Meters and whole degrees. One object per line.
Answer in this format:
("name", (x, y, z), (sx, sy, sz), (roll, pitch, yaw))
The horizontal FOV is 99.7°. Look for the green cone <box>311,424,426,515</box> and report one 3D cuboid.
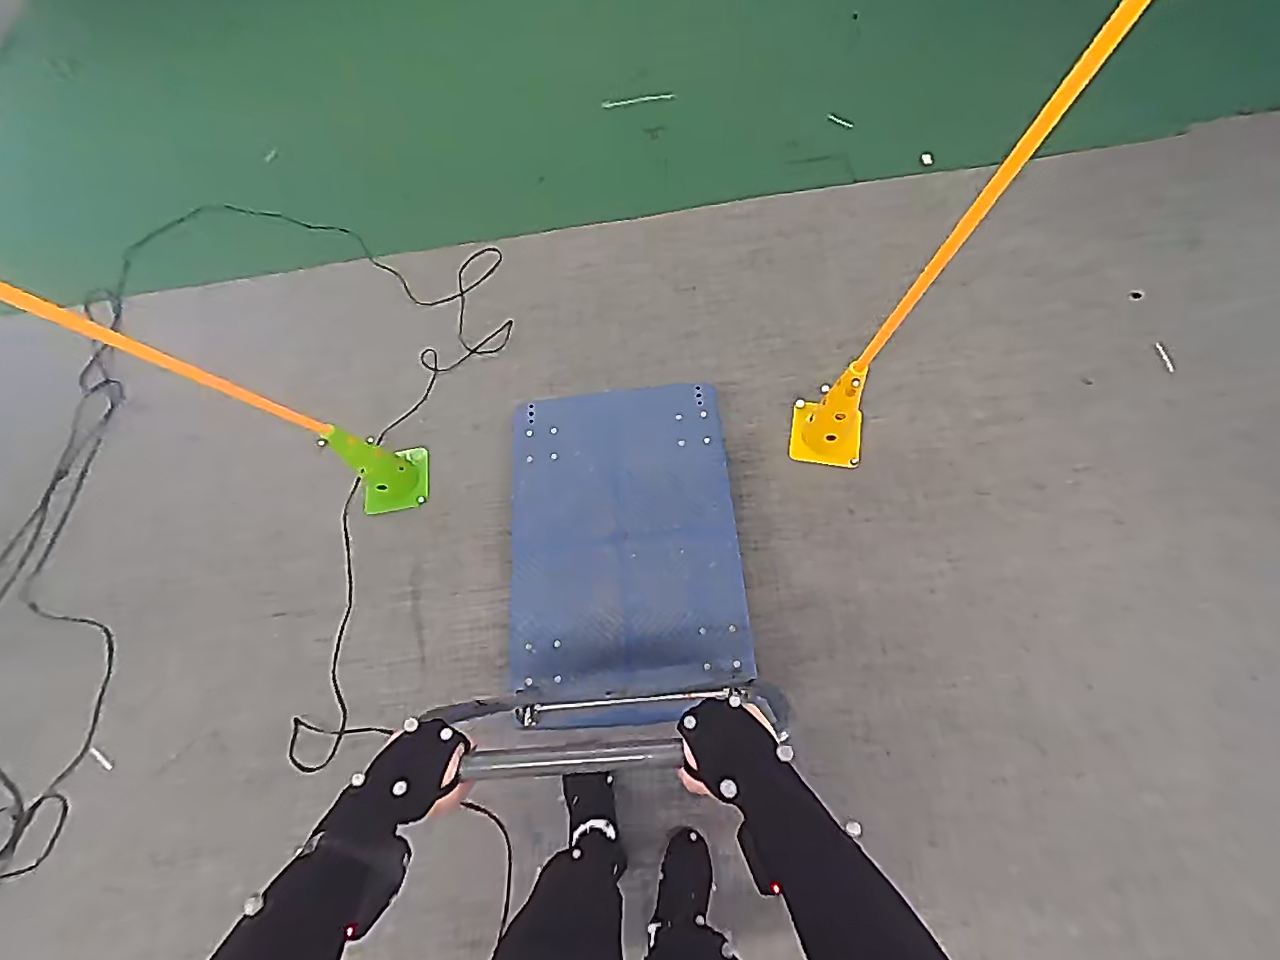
("green cone", (-0.787, -0.063, 1.530), (0.202, 0.368, 0.200), (-11, 67, 3))
